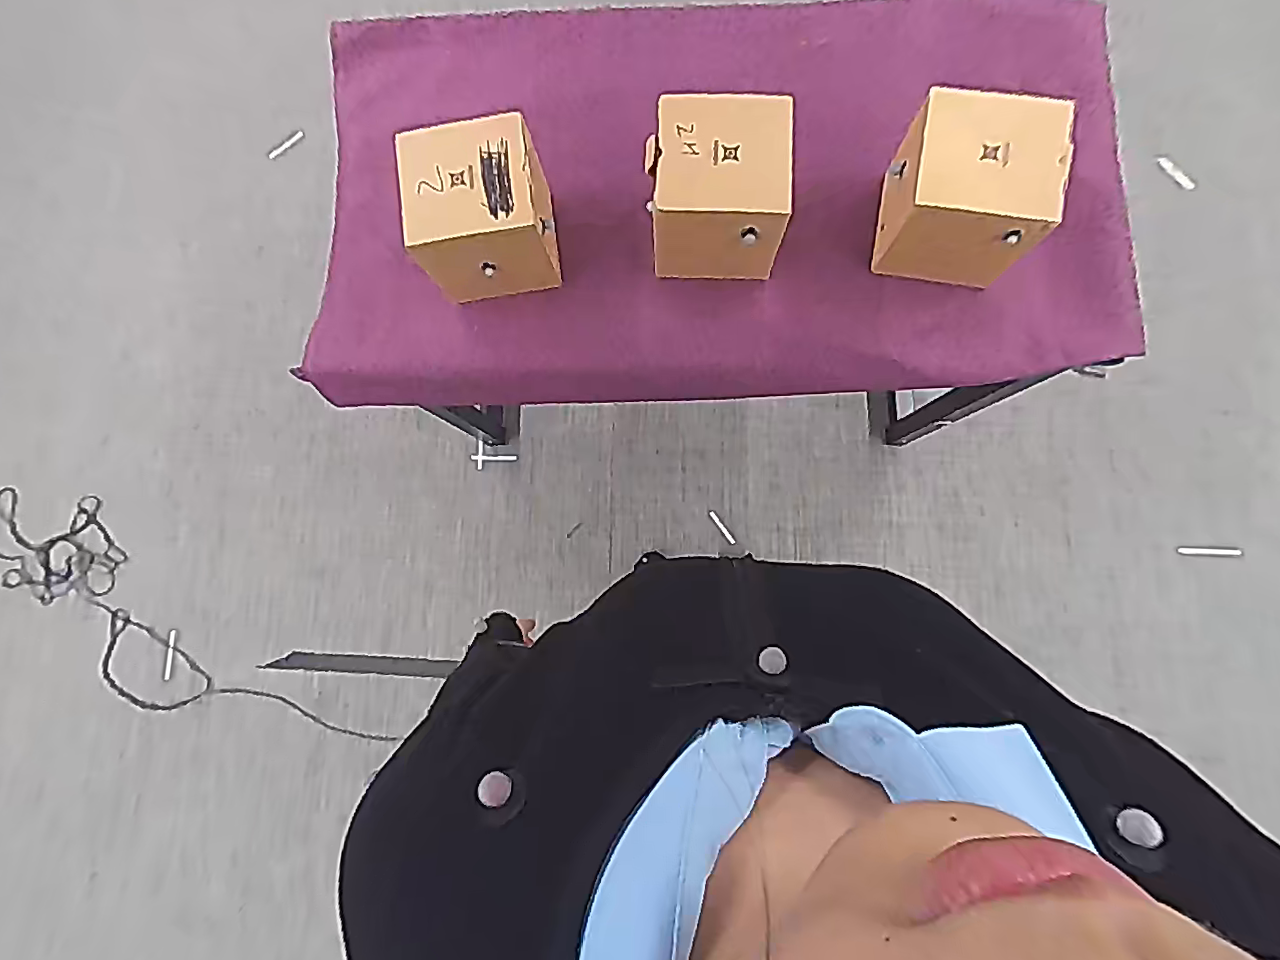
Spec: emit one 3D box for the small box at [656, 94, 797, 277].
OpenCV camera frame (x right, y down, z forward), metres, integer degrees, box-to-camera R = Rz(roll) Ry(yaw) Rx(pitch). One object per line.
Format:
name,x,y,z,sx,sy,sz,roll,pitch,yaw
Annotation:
small box,0.115,-0.405,0.767,0.179,0.176,0.168,2,82,4

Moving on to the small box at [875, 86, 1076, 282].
small box,0.444,-0.394,0.744,0.179,0.176,0.168,10,83,5
